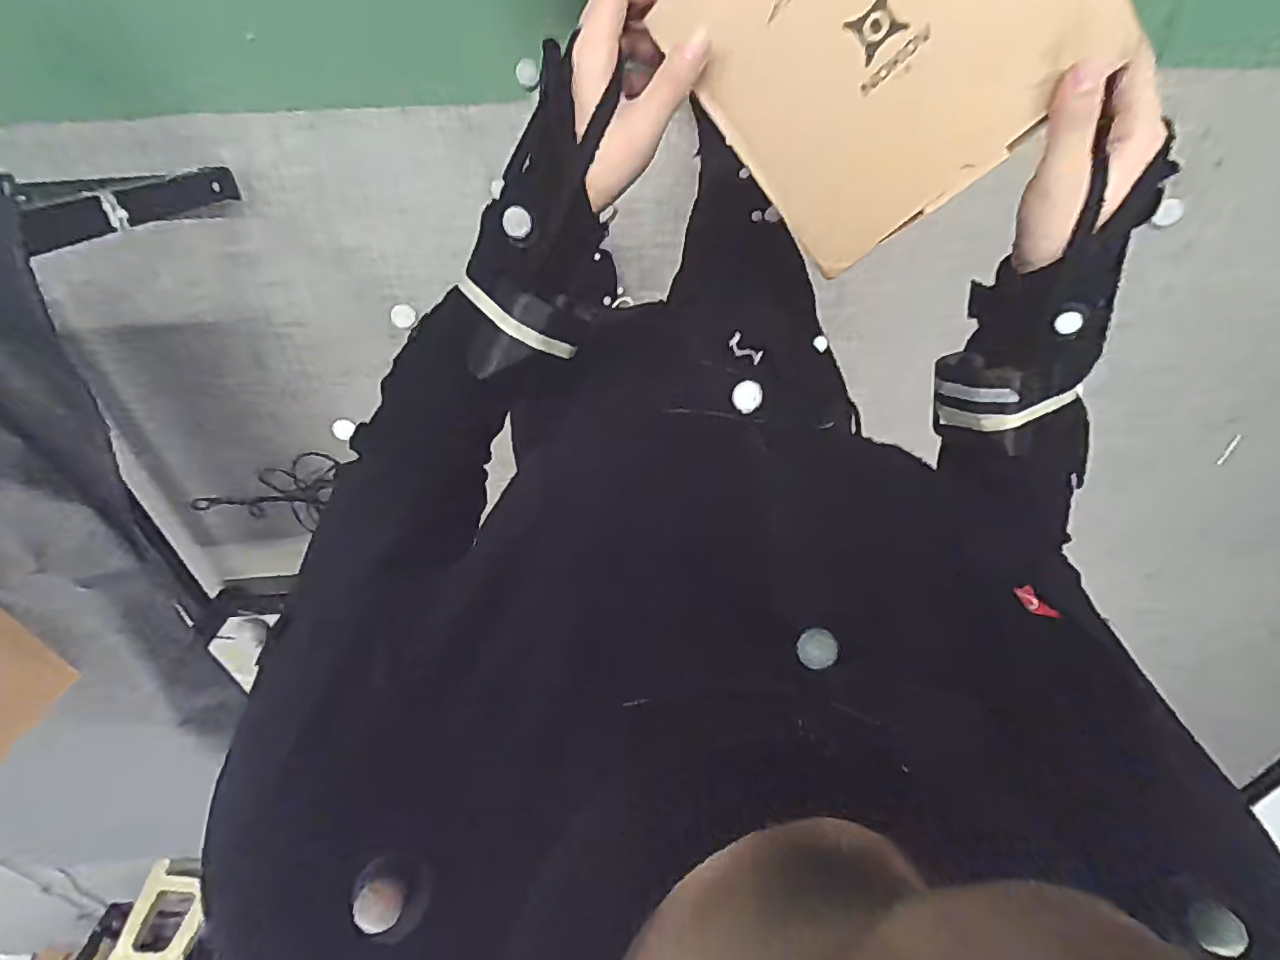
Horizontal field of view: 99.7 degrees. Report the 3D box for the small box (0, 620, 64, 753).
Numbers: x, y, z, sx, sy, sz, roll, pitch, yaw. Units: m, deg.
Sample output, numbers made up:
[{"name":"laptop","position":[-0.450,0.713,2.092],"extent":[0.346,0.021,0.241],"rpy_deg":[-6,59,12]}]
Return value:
[{"name":"small box","position":[-0.888,0.264,0.649],"extent":[0.168,0.176,0.179],"rpy_deg":[-5,127,1]}]
